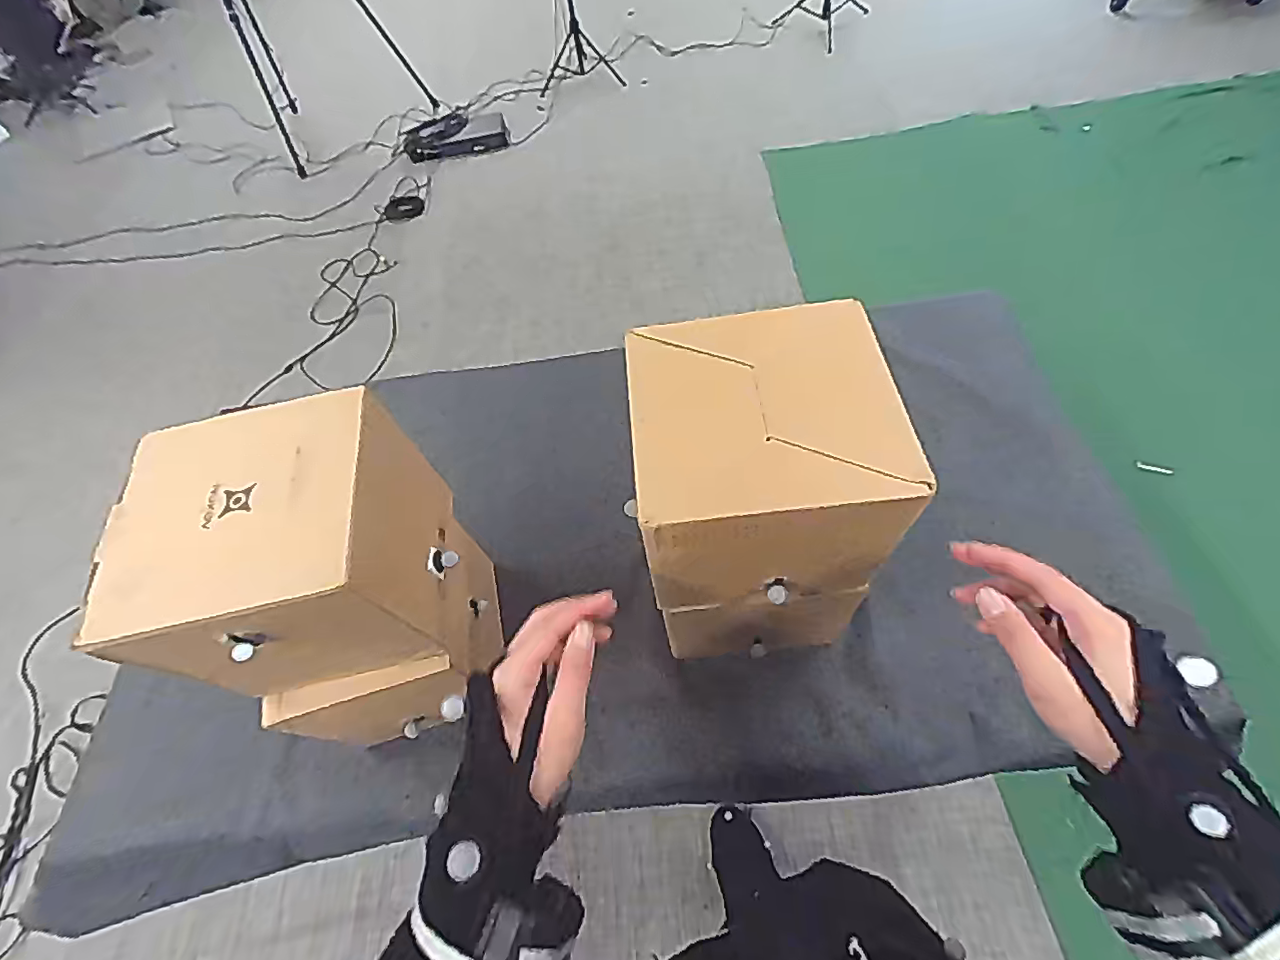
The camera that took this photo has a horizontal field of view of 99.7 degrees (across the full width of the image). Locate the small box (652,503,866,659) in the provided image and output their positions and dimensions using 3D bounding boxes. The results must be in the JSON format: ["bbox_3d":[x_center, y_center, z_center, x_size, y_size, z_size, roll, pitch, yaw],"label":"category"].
[{"bbox_3d":[0.105,0.079,0.562,0.179,0.176,0.168,-7,58,2],"label":"small box"}]

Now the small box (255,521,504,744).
[{"bbox_3d":[-0.253,0.155,0.562,0.168,0.176,0.179,-16,59,-3],"label":"small box"}]

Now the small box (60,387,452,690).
[{"bbox_3d":[-0.268,0.056,0.432,0.179,0.176,0.168,-12,59,-2],"label":"small box"}]

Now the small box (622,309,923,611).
[{"bbox_3d":[0.083,-0.010,0.422,0.179,0.176,0.168,-7,58,3],"label":"small box"}]
